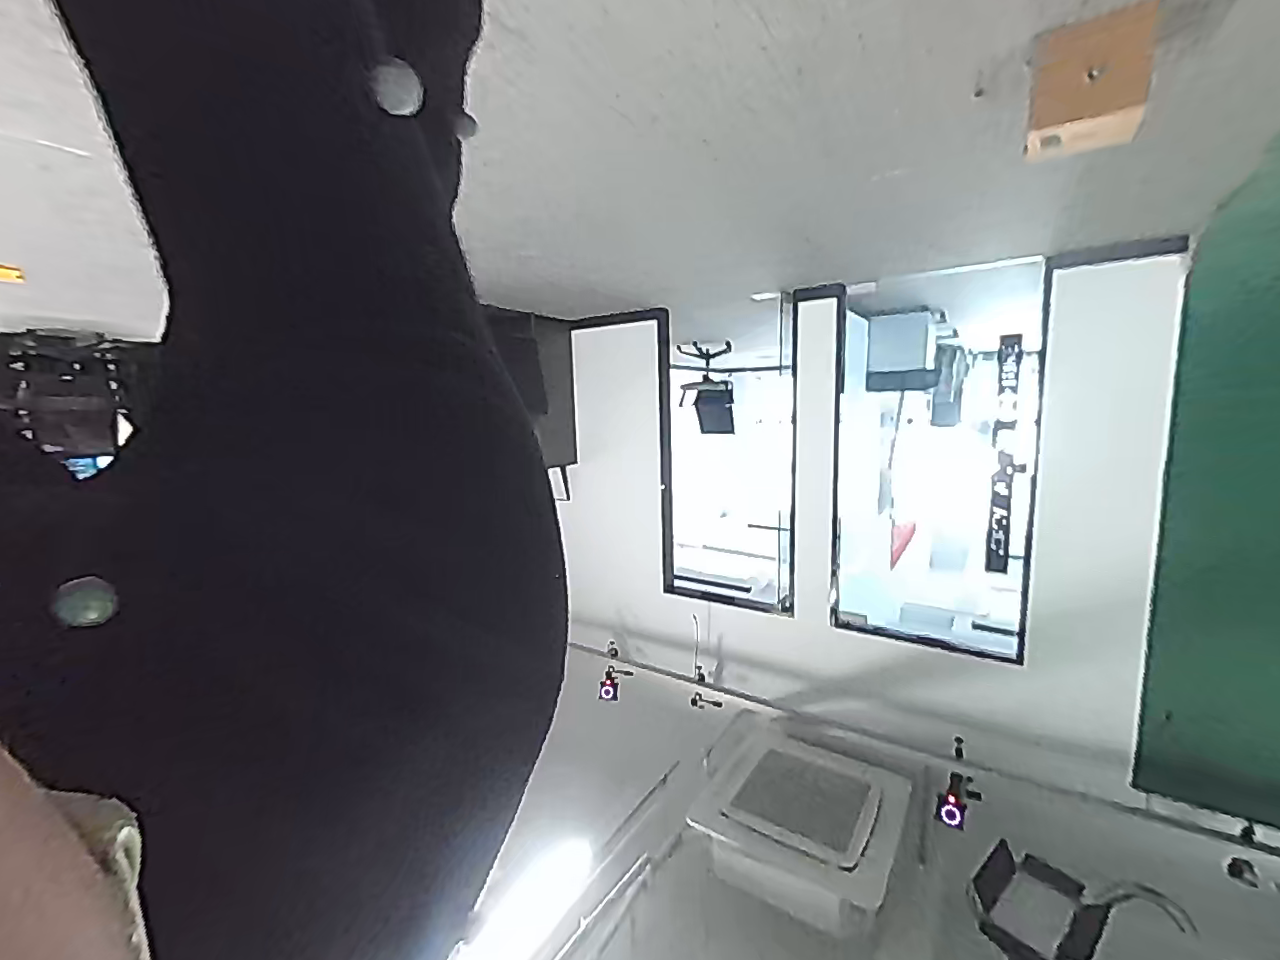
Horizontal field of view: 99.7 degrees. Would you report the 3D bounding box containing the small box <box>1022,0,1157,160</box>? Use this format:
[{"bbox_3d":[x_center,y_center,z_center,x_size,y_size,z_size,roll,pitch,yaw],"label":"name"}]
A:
[{"bbox_3d":[0.840,-0.748,1.025,0.179,0.176,0.168,2,-171,33],"label":"small box"}]
